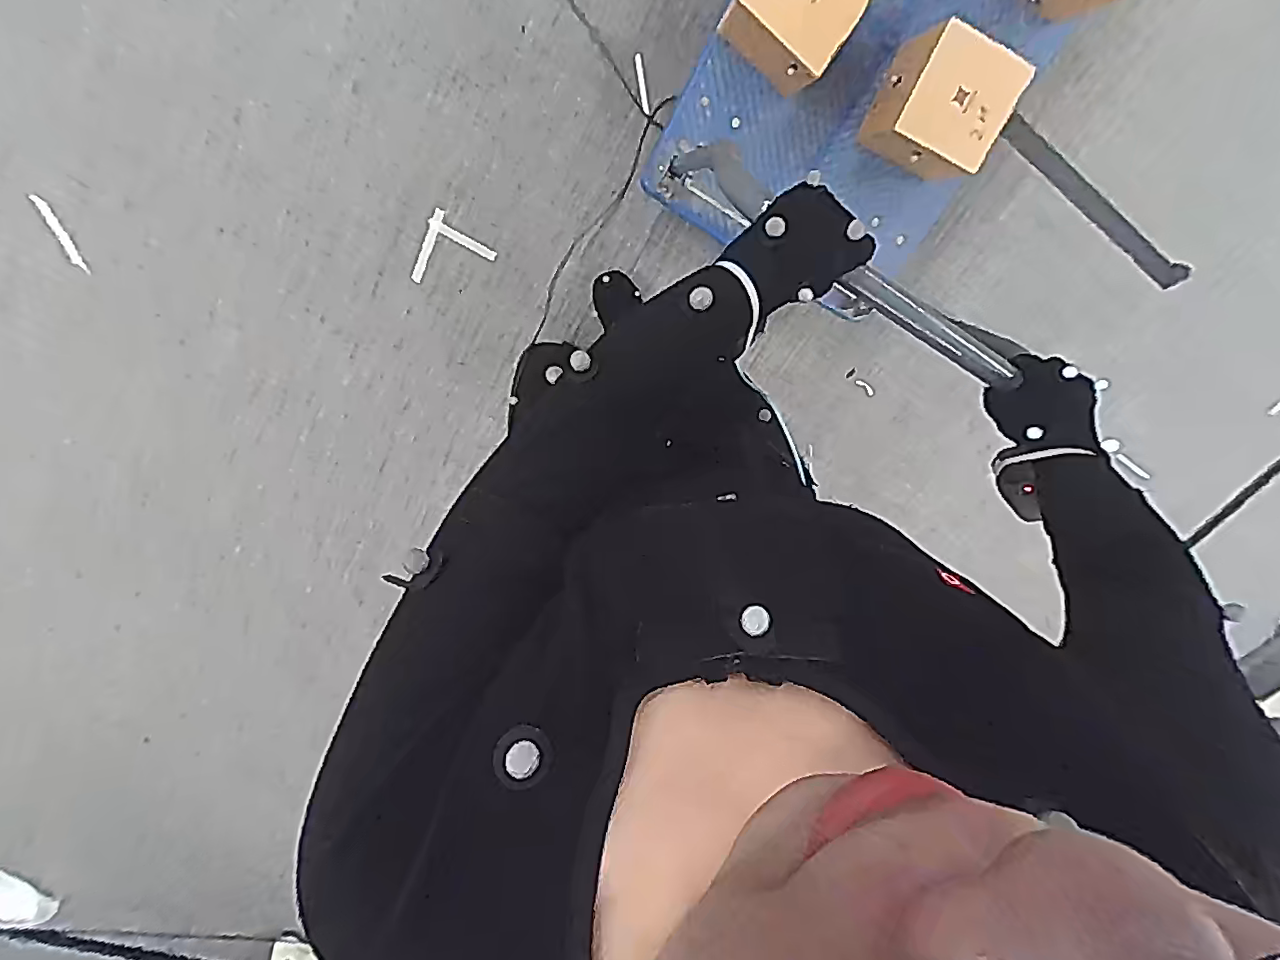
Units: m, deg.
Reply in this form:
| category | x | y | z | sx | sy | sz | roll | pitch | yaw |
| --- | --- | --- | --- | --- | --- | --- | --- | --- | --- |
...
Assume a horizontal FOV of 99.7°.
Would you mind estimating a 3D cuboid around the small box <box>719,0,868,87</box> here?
| category | x | y | z | sx | sy | sz | roll | pitch | yaw |
| --- | --- | --- | --- | --- | --- | --- | --- | --- | --- |
| small box | 0.252 | -0.786 | 0.884 | 0.179 | 0.176 | 0.168 | 30 | 111 | -19 |

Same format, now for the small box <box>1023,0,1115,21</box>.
| category | x | y | z | sx | sy | sz | roll | pitch | yaw |
| --- | --- | --- | --- | --- | --- | --- | --- | --- | --- |
| small box | 0.722 | -0.889 | 0.857 | 0.168 | 0.176 | 0.179 | 23 | 114 | -14 |

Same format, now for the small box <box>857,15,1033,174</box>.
| category | x | y | z | sx | sy | sz | roll | pitch | yaw |
| --- | --- | --- | --- | --- | --- | --- | --- | --- | --- |
| small box | 0.524 | -0.664 | 0.960 | 0.179 | 0.176 | 0.168 | 20 | 114 | -13 |
